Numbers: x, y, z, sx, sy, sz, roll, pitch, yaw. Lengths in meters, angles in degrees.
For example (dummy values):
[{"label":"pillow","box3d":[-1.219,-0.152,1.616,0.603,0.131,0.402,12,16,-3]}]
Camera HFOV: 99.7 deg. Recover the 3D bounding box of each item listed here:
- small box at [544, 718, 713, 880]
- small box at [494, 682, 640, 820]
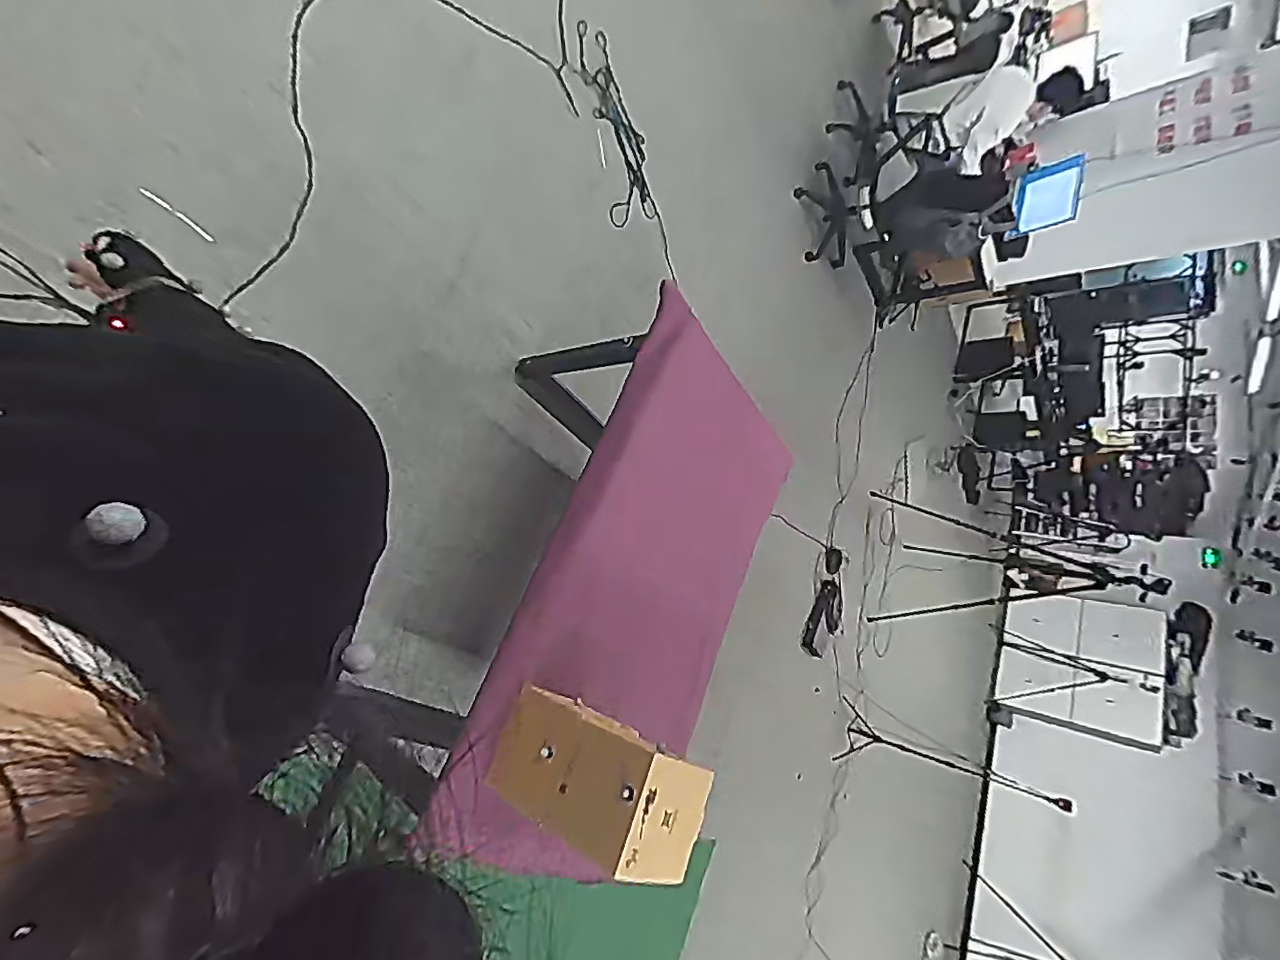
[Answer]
[{"label":"small box","box3d":[-0.017,0.499,0.859,0.179,0.176,0.168,41,62,-40]},{"label":"small box","box3d":[-0.135,0.489,0.972,0.168,0.176,0.179,40,63,-39]}]
